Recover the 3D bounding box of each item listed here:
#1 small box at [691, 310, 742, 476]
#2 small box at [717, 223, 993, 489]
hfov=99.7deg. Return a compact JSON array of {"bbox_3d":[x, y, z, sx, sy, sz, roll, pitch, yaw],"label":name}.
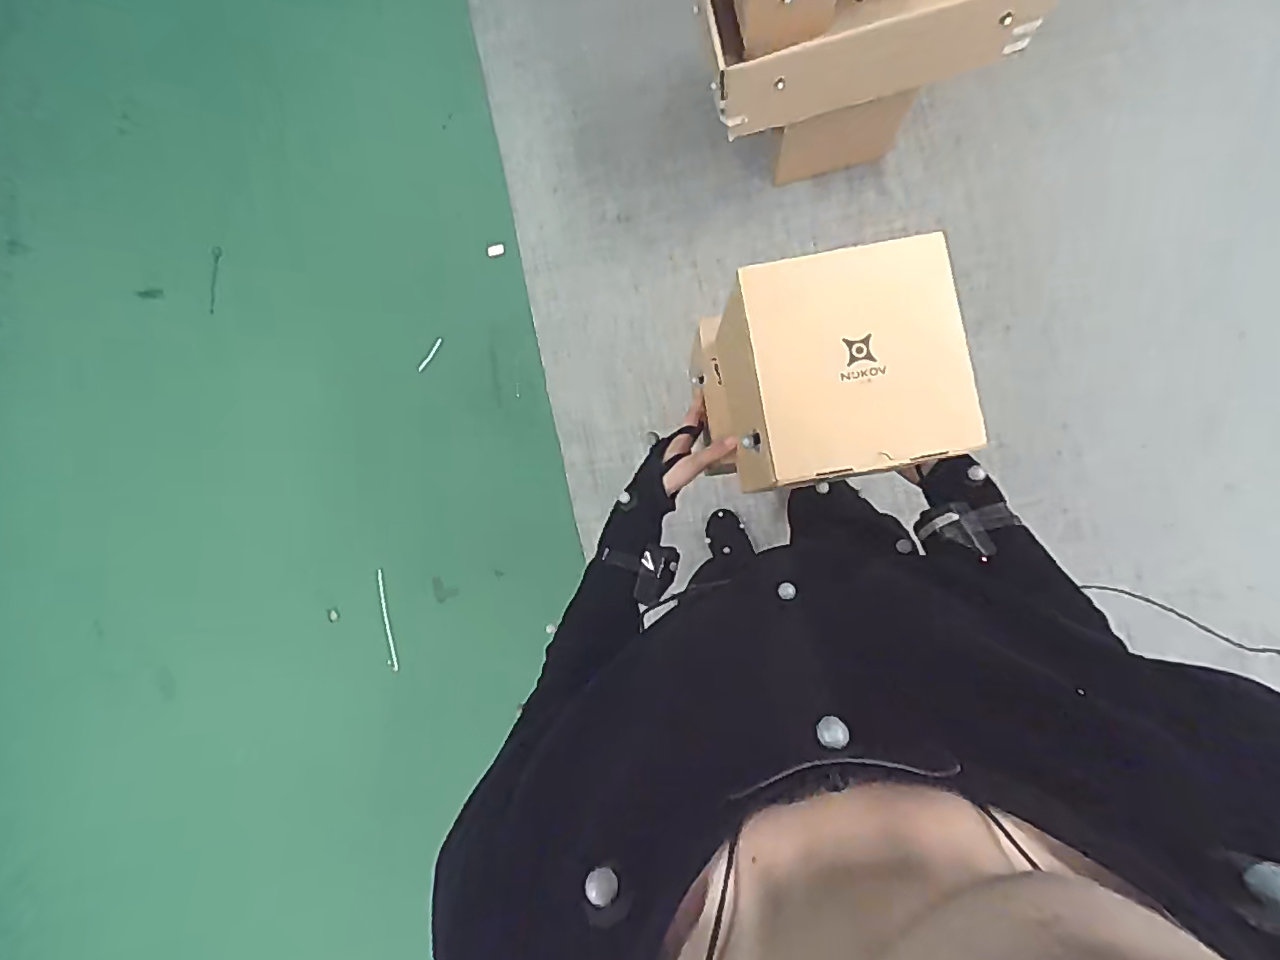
[{"bbox_3d":[0.161,-0.100,0.652,0.179,0.176,0.168,-6,84,2],"label":"small box"},{"bbox_3d":[0.170,-0.093,0.487,0.168,0.176,0.179,-10,86,2],"label":"small box"}]
